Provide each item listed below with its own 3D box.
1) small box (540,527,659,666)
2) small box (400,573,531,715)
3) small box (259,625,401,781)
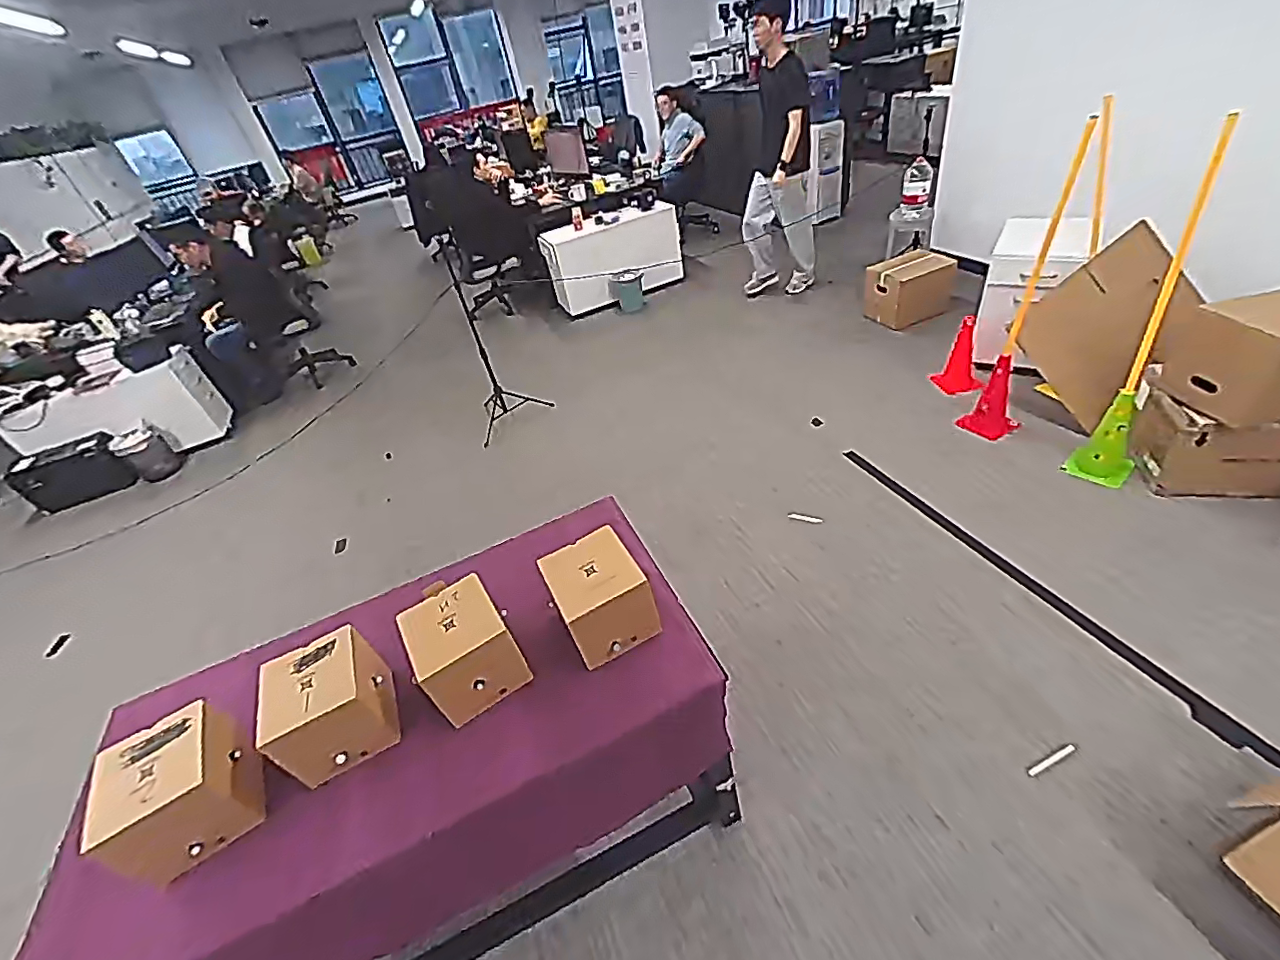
[{"bbox_3d":[-0.079,0.233,1.084,0.168,0.176,0.179,-26,40,-14],"label":"small box"},{"bbox_3d":[-0.333,0.323,1.047,0.168,0.176,0.179,-29,41,-19],"label":"small box"},{"bbox_3d":[-0.567,0.413,1.006,0.168,0.176,0.179,-25,41,-14],"label":"small box"}]
